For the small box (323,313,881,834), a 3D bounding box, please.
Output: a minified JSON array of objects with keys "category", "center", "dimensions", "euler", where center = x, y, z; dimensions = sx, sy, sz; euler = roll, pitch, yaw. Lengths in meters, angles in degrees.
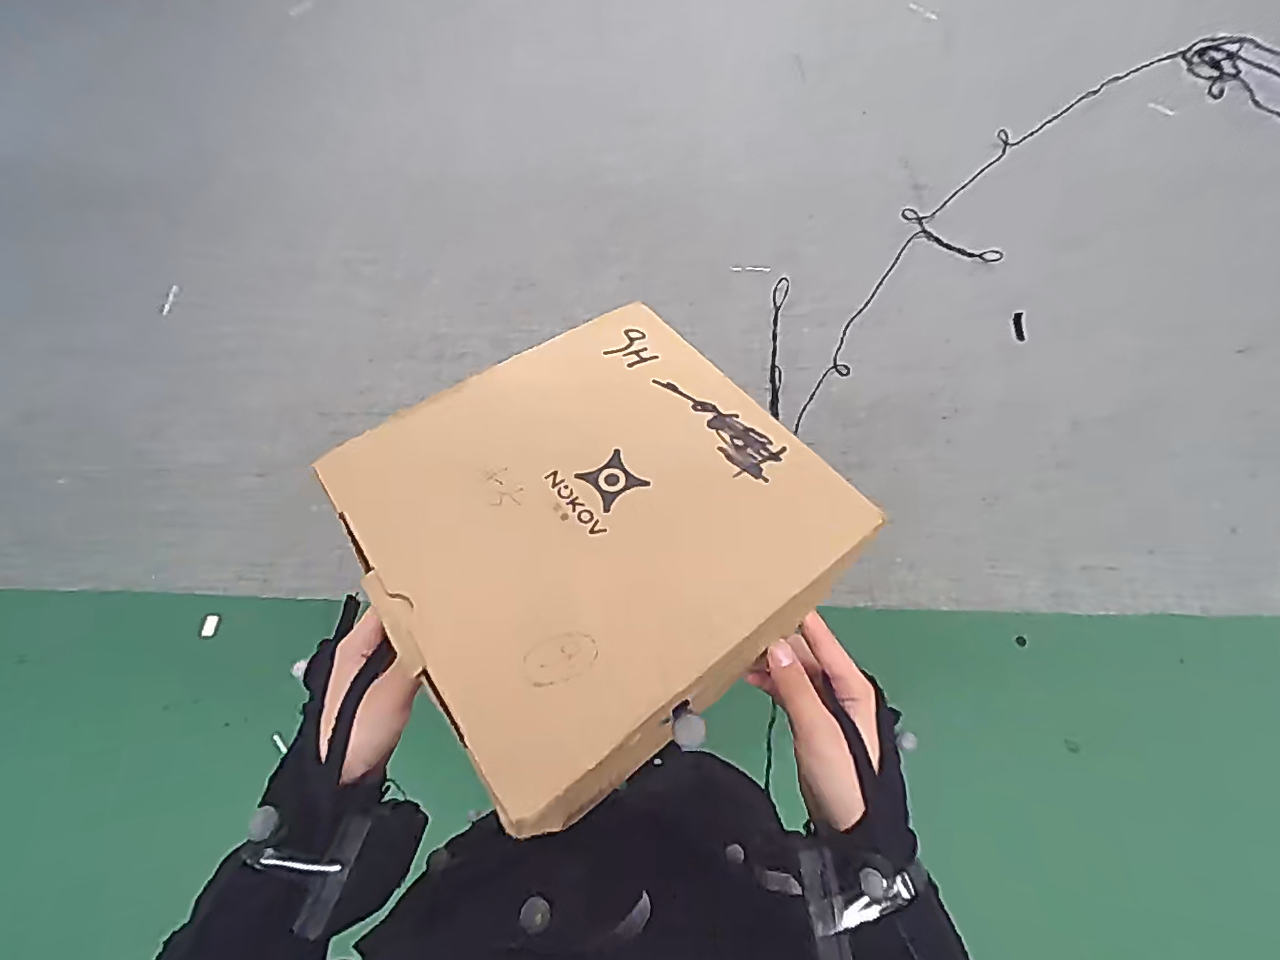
[{"category":"small box","center":[-0.018,0.053,0.287],"dimensions":[0.179,0.176,0.168],"euler":[-33,63,-20]}]
